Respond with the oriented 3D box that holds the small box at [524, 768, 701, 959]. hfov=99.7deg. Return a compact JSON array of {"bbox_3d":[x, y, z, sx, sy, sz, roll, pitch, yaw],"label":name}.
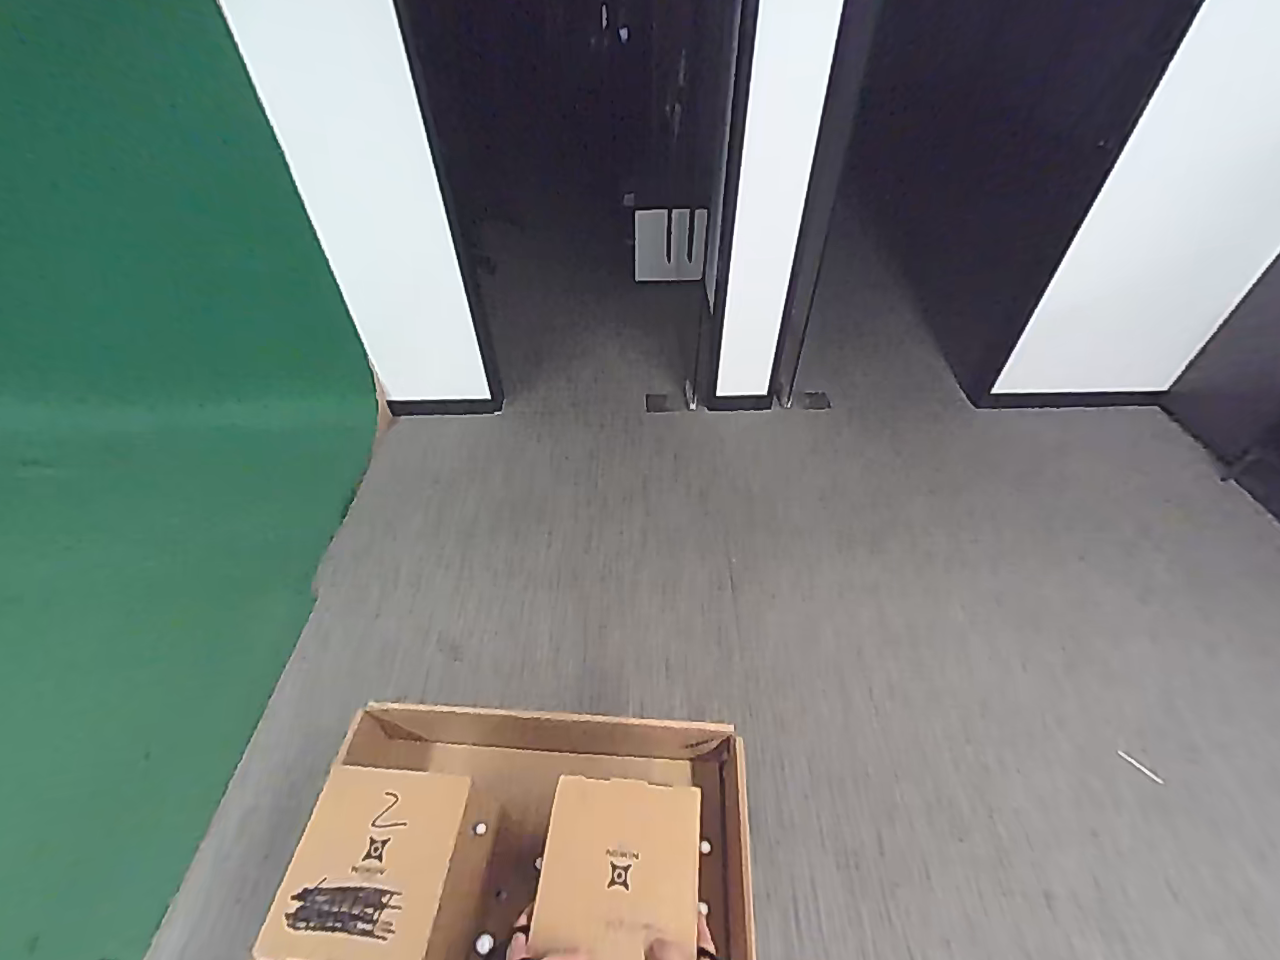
[{"bbox_3d":[-0.019,0.459,0.622,0.168,0.176,0.179,3,46,6],"label":"small box"}]
